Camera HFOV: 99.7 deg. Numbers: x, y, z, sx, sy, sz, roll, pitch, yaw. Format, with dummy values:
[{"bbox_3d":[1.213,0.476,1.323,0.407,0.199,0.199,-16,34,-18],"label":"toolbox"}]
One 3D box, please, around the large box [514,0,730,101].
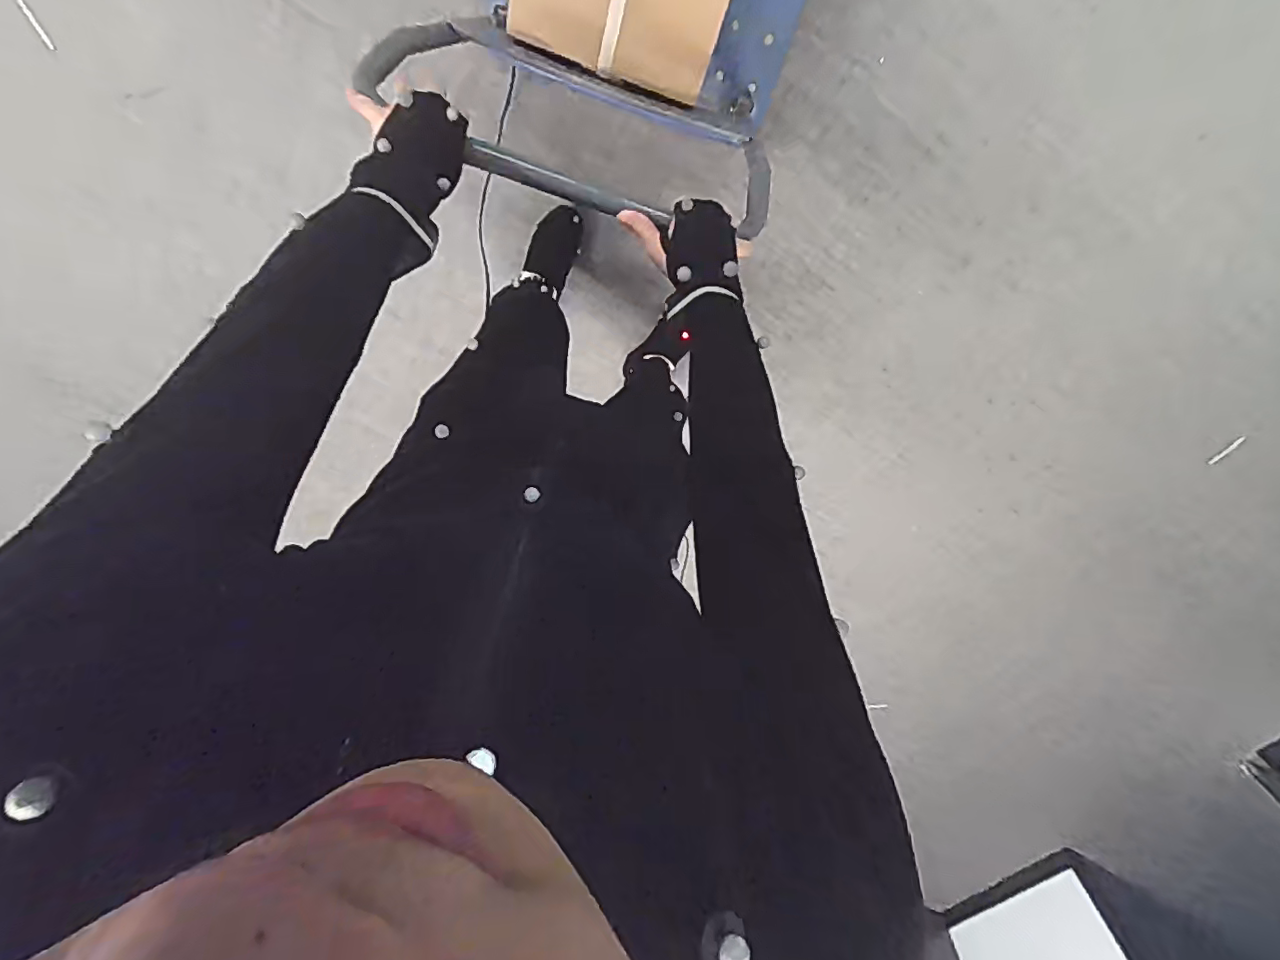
[{"bbox_3d":[0.015,-0.890,0.860,0.320,0.320,0.408,16,127,-7],"label":"large box"}]
